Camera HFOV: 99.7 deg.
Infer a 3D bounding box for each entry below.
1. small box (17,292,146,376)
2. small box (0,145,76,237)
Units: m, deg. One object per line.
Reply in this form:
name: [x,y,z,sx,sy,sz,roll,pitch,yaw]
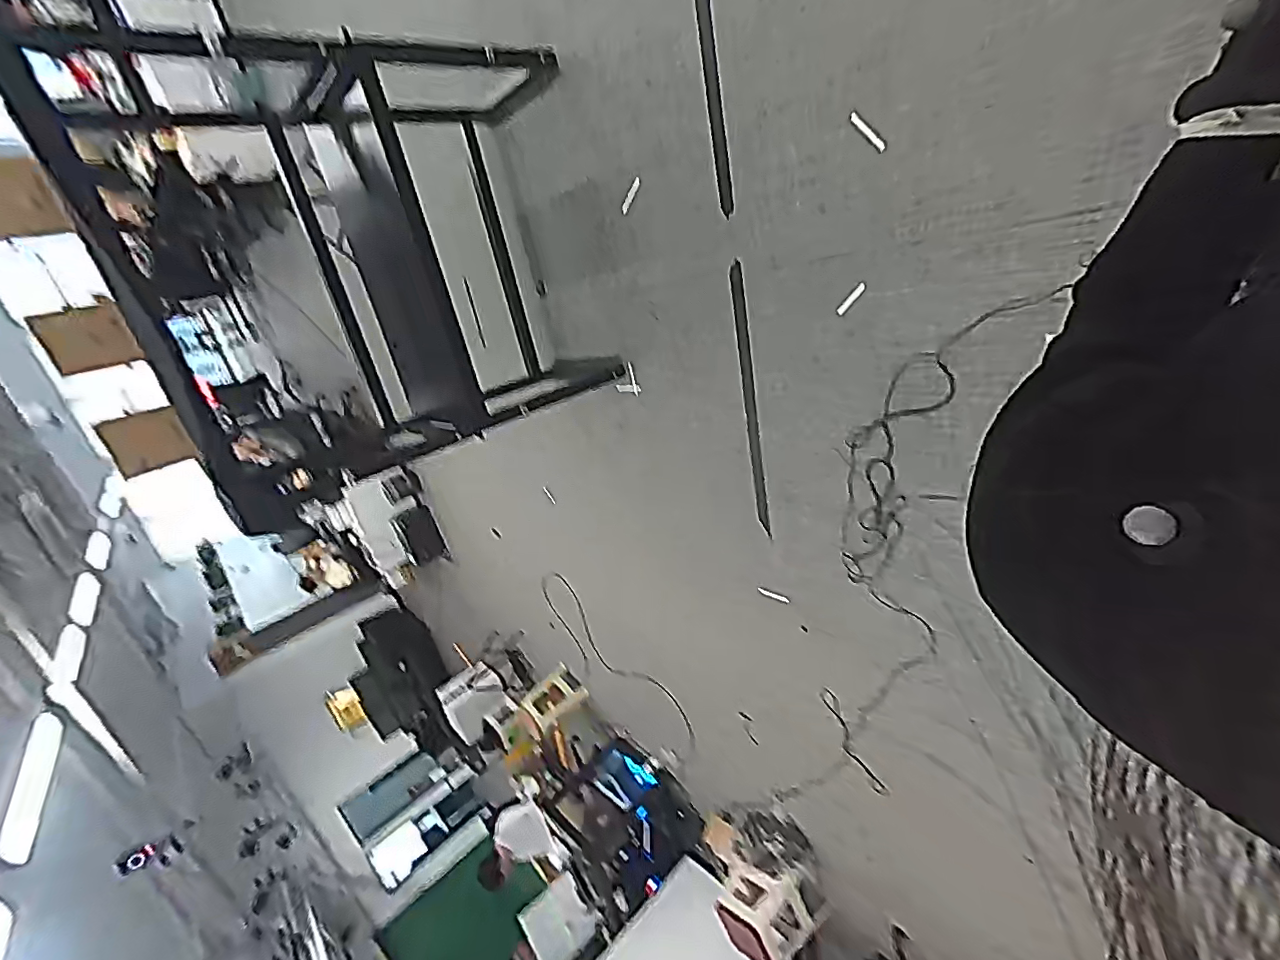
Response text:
small box: [-1.368,-0.363,1.341,0.179,0.176,0.168,14,123,48]
small box: [-1.425,-0.646,1.220,0.179,0.176,0.168,20,128,43]
